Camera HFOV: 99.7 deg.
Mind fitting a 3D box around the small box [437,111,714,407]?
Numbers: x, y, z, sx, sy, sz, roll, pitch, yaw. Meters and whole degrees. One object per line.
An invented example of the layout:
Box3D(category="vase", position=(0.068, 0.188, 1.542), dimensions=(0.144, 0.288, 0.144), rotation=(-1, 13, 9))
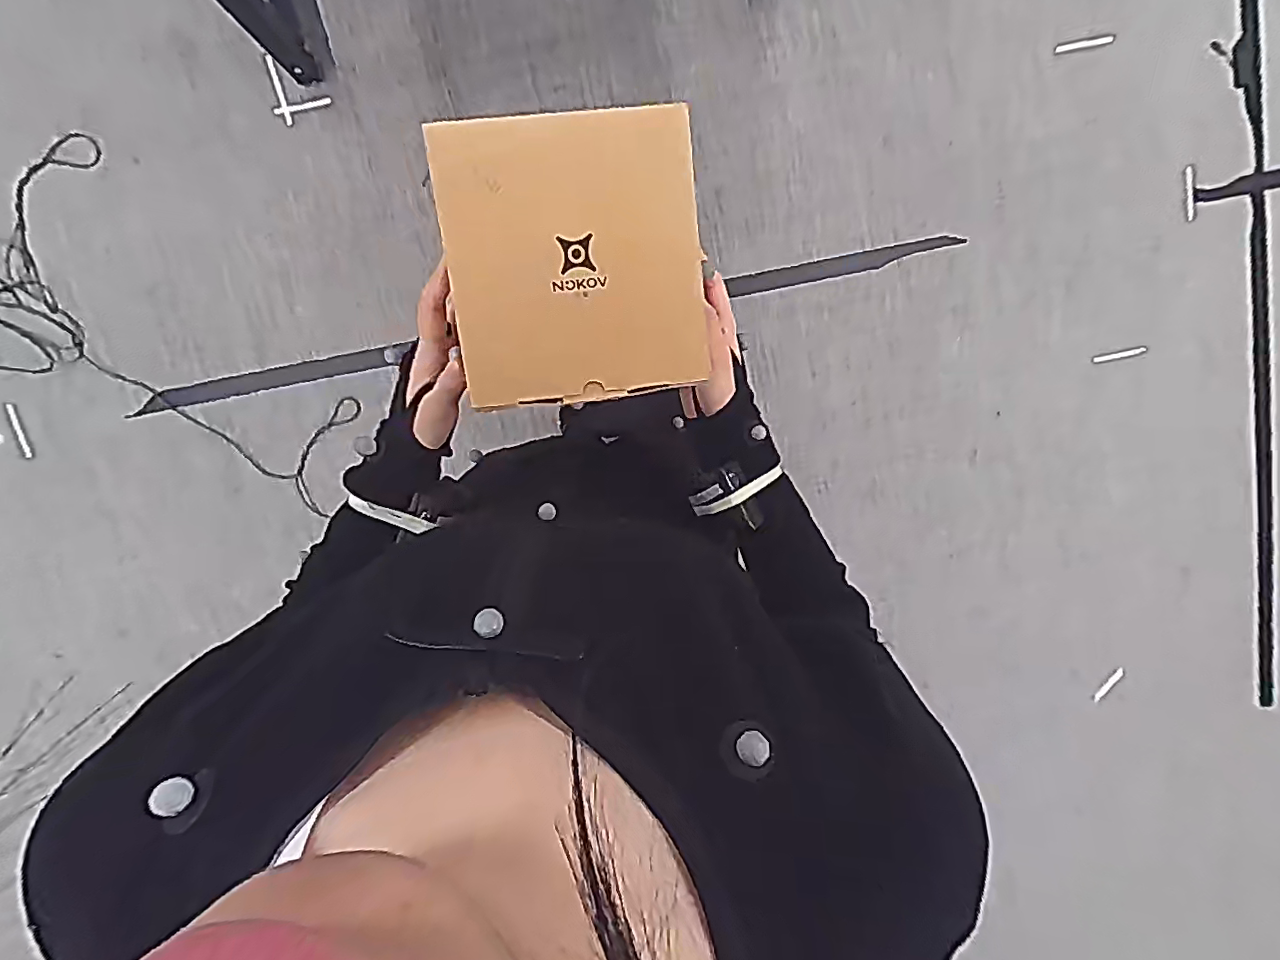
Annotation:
Box3D(category="small box", position=(-0.047, -0.156, 0.431), dimensions=(0.168, 0.176, 0.179), rotation=(-8, 102, -5))

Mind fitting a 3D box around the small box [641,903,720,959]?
Box3D(category="small box", position=(0.105, 1.168, 1.298), dimensions=(0.179, 0.176, 0.168), rotation=(-14, 98, -1))
